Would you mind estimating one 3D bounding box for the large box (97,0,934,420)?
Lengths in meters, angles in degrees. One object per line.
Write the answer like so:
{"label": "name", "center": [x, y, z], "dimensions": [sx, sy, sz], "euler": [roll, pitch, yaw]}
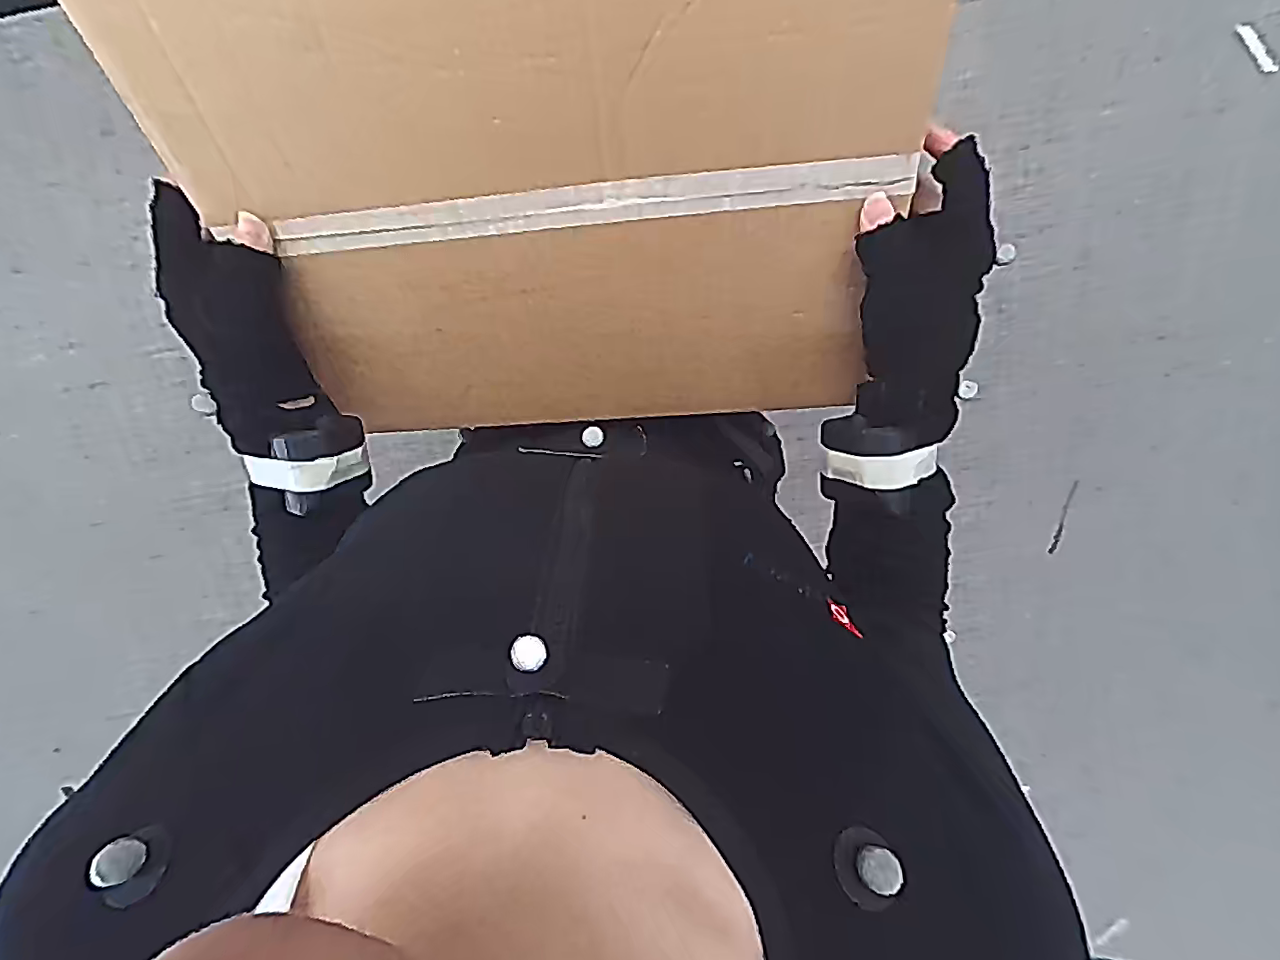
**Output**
{"label": "large box", "center": [-0.050, -0.272, 0.421], "dimensions": [0.408, 0.320, 0.320], "euler": [-3, 137, 5]}
